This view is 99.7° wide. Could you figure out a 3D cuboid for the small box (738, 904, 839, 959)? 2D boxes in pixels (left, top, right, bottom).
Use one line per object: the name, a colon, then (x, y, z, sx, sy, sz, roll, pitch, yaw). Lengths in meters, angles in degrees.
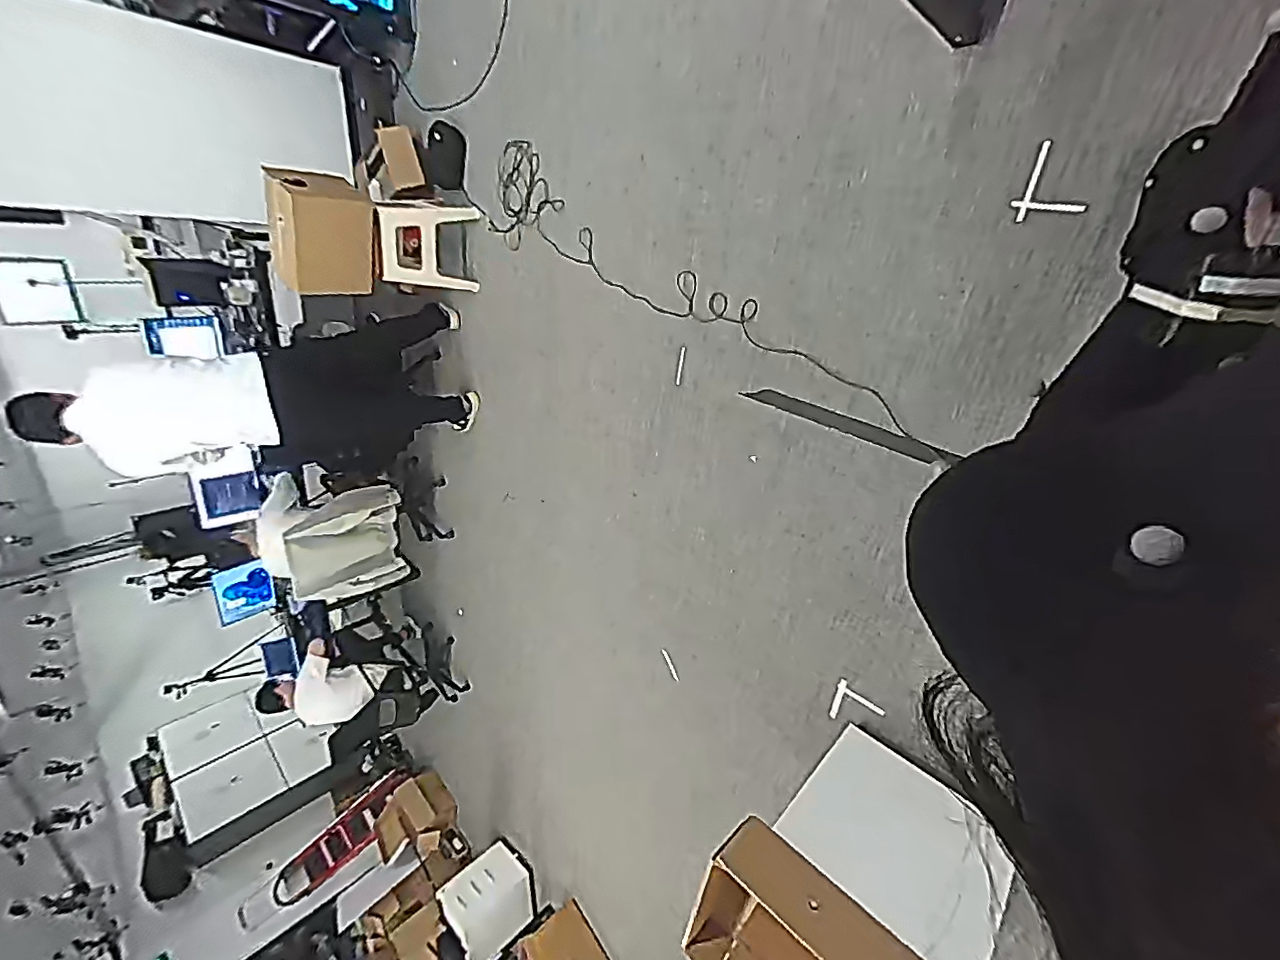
small box: (0.346, 1.173, 1.297, 0.179, 0.176, 0.168, 26, 117, 35)
